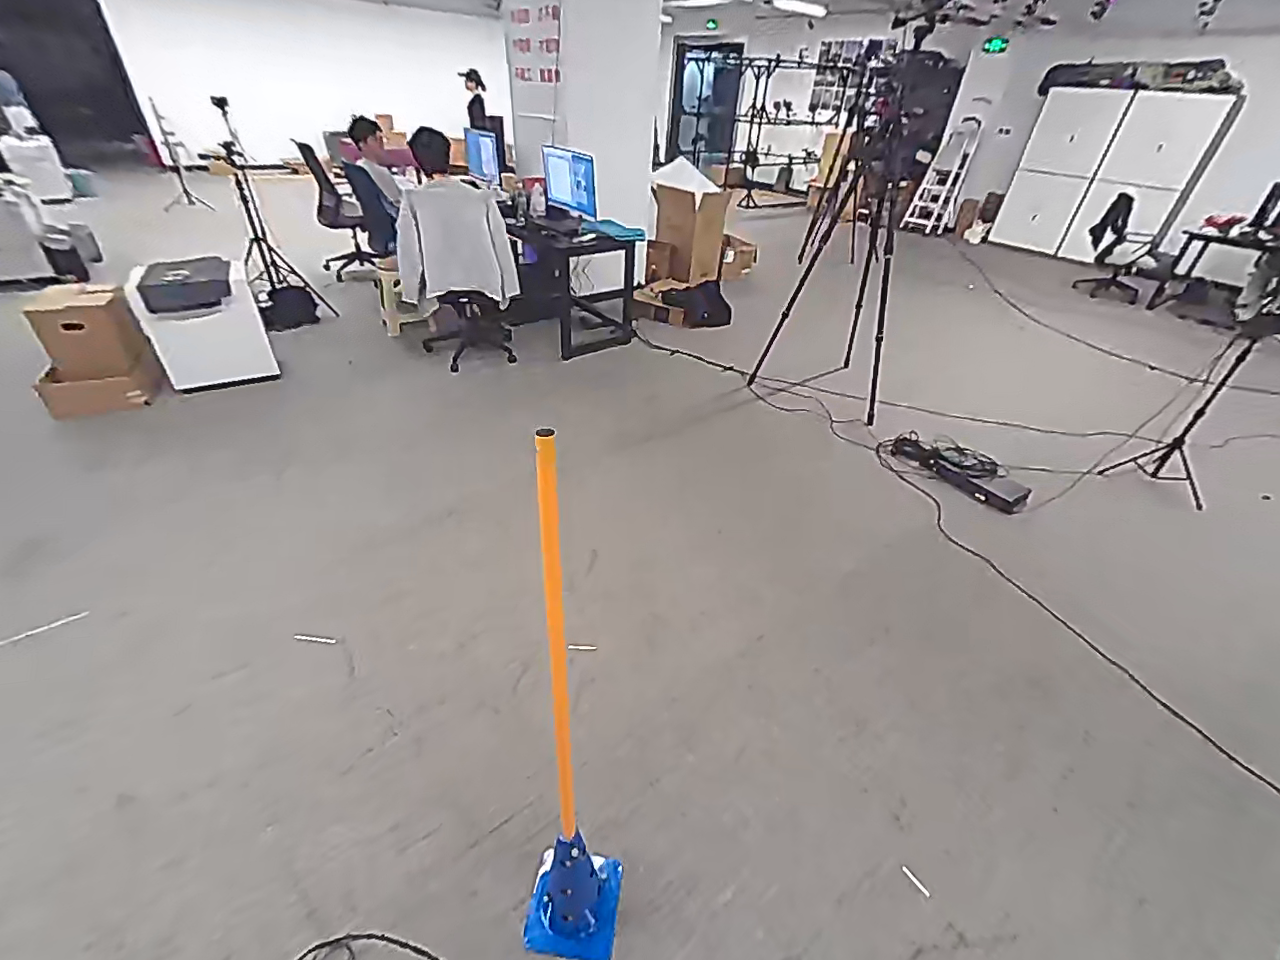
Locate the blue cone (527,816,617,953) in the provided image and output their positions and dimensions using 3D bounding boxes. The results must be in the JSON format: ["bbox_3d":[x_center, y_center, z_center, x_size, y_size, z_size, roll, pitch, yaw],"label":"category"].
[{"bbox_3d":[-0.145,0.823,1.150,0.192,0.380,0.193,6,34,4],"label":"blue cone"}]
